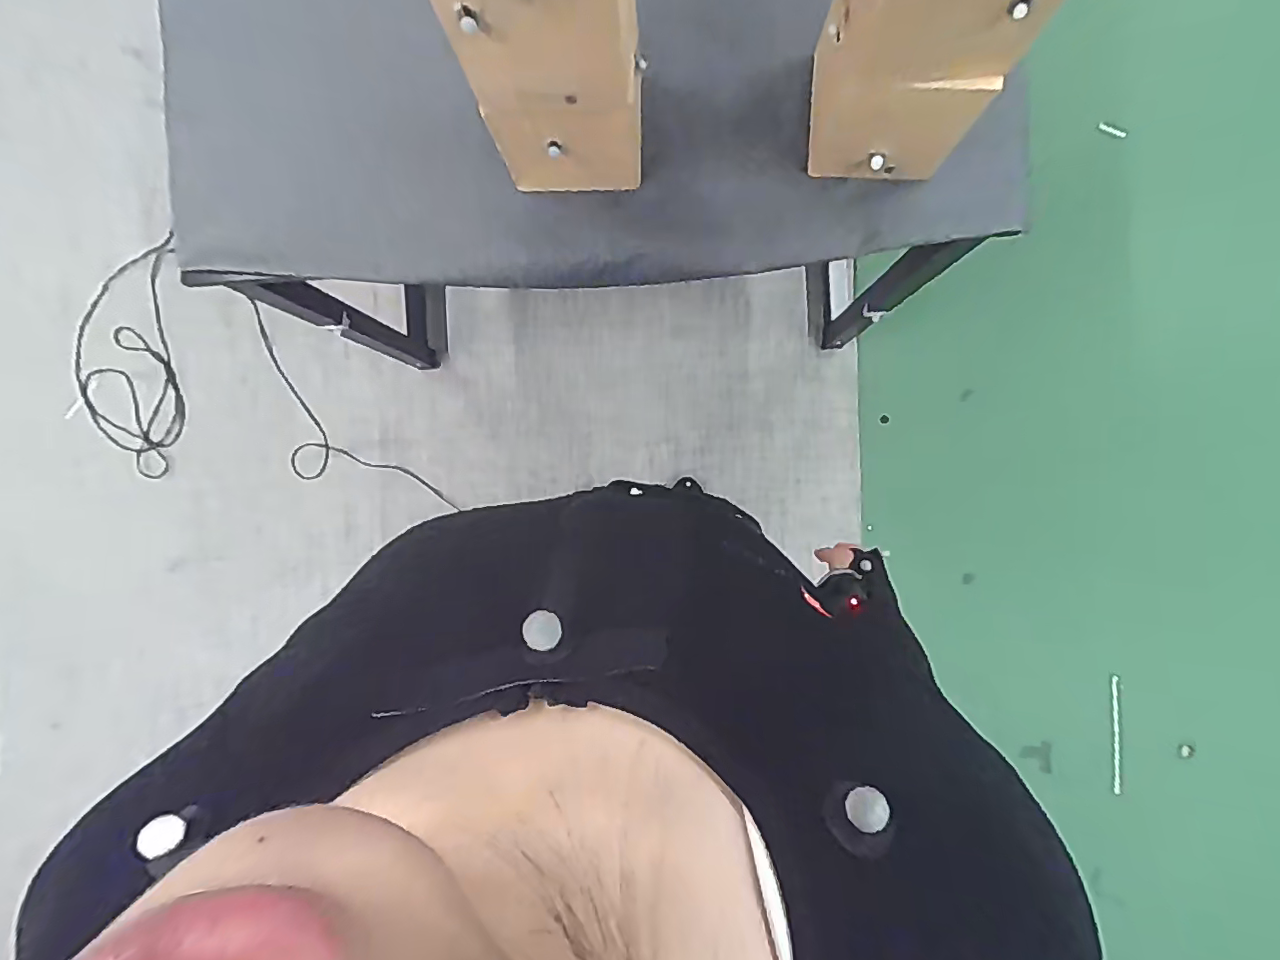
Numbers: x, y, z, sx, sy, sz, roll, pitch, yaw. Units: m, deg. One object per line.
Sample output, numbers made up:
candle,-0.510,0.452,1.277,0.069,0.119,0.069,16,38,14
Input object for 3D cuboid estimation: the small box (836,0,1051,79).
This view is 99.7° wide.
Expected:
small box,0.290,-0.511,0.491,0.179,0.176,0.168,-4,87,4

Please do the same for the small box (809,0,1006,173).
small box,0.310,-0.508,0.652,0.168,0.176,0.179,4,89,3

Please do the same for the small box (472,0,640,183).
small box,-0.094,-0.495,0.674,0.179,0.176,0.168,0,90,3
